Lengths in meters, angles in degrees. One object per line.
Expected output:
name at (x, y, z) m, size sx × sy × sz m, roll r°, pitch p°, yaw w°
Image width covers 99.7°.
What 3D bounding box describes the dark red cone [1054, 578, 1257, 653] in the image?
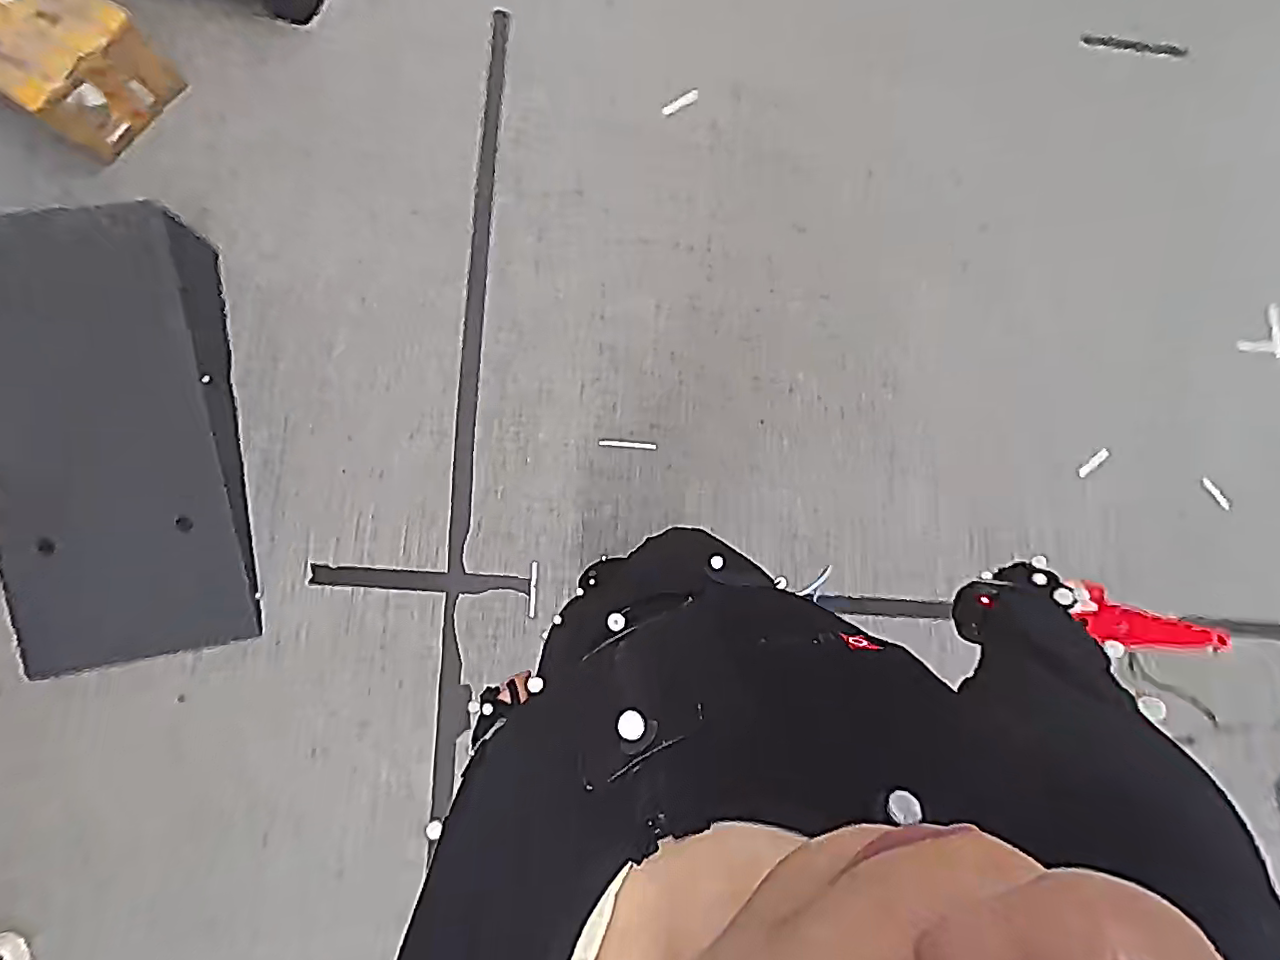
dark red cone at (1.232, 0.352, 1.306) m, size 0.202 × 0.394 × 0.201 m, roll 3°, pitch 84°, yaw -6°
